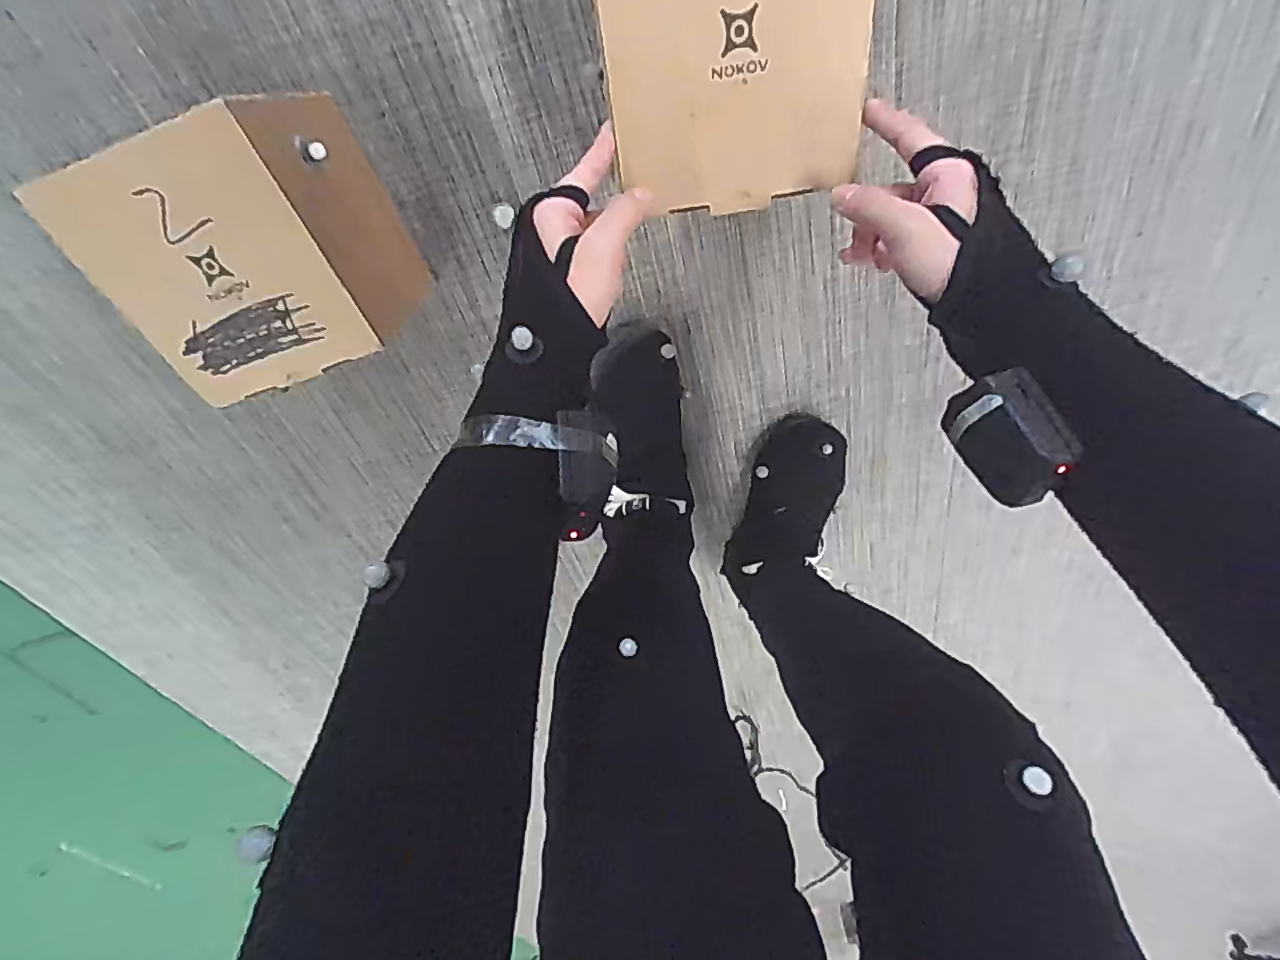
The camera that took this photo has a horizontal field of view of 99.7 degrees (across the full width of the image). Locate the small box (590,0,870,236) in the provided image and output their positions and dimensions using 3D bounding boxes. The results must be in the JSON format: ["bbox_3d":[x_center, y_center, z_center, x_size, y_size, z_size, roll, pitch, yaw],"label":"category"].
[{"bbox_3d":[0.054,-0.304,0.400,0.168,0.176,0.179,-9,128,2],"label":"small box"}]
